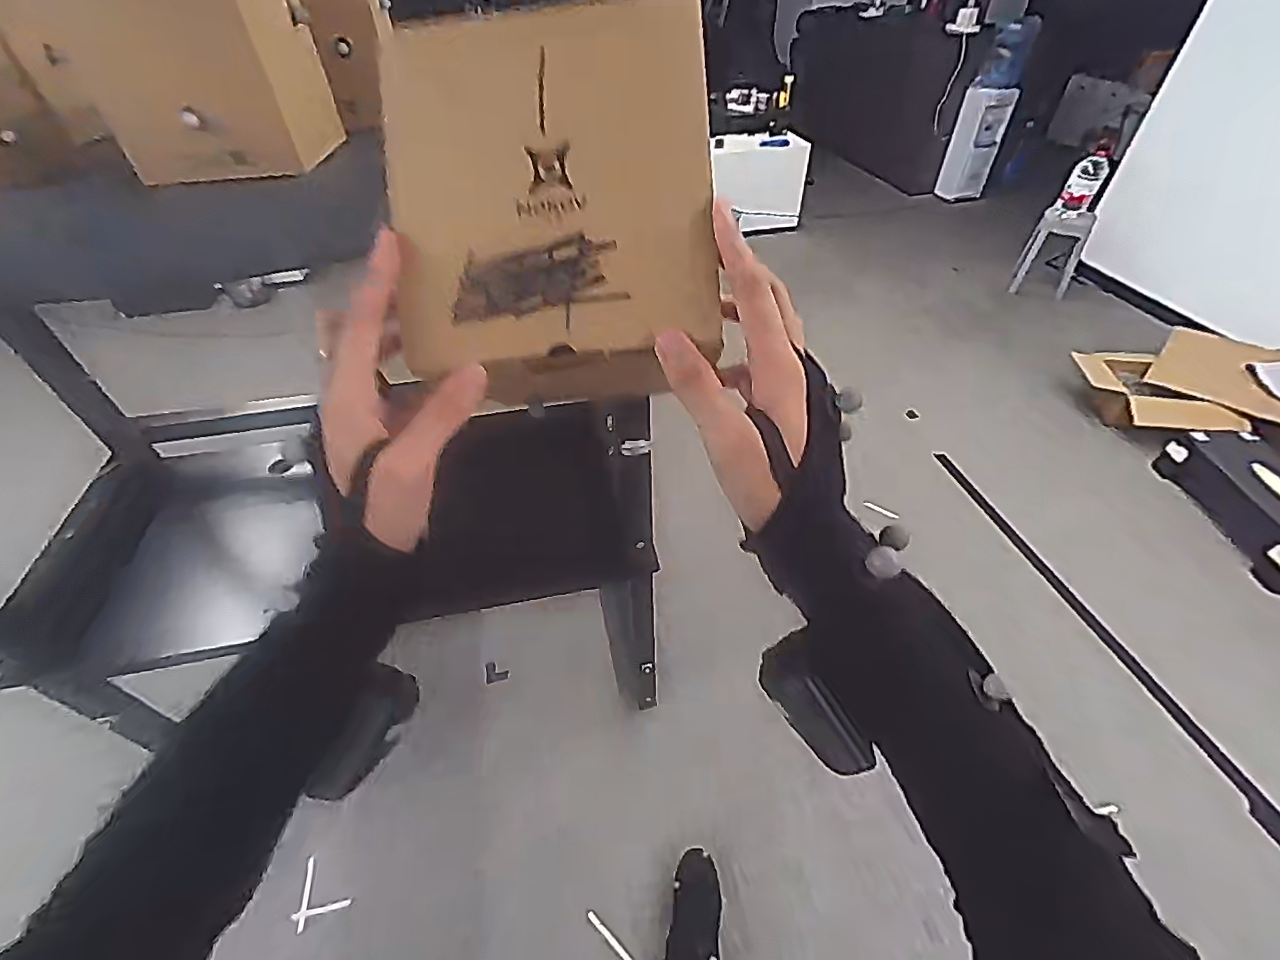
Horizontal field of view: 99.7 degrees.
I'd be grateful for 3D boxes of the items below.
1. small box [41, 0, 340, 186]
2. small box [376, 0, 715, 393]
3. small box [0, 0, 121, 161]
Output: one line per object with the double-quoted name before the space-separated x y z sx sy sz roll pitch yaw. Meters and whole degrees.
"small box" -0.449 -0.427 0.575 0.168 0.176 0.179 -7 44 -5
"small box" -0.041 -0.152 0.349 0.168 0.179 0.176 -4 1 4
"small box" -0.820 -0.521 0.688 0.179 0.176 0.168 -9 45 -6
